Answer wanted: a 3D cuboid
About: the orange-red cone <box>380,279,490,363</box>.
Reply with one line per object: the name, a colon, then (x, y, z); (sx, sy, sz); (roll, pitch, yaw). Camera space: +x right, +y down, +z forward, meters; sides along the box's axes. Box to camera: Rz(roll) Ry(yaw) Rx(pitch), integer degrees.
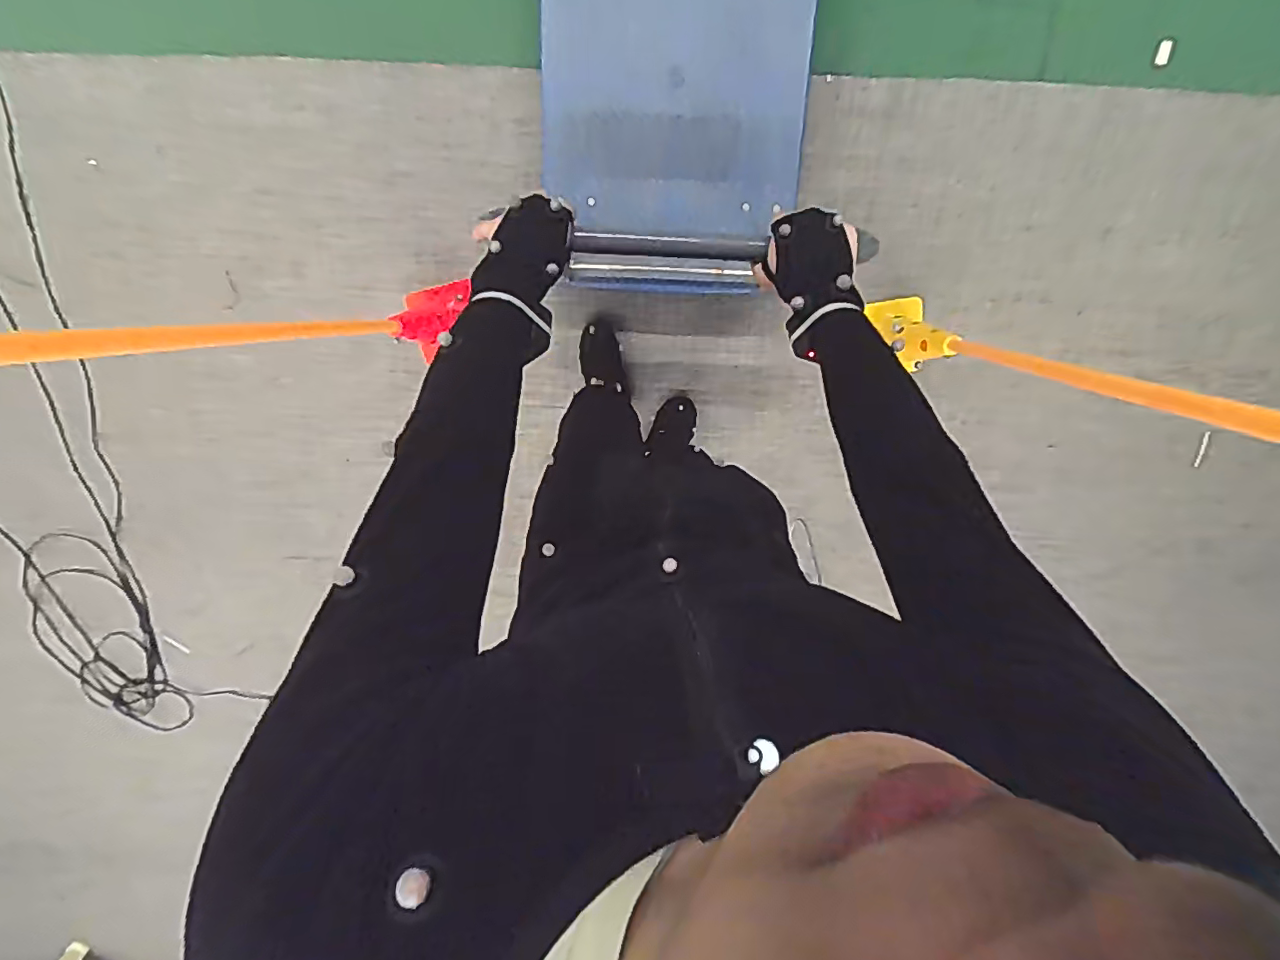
orange-red cone: (-0.523, -0.377, 1.296); (0.199, 0.360, 0.198); (-11, 106, 5)
